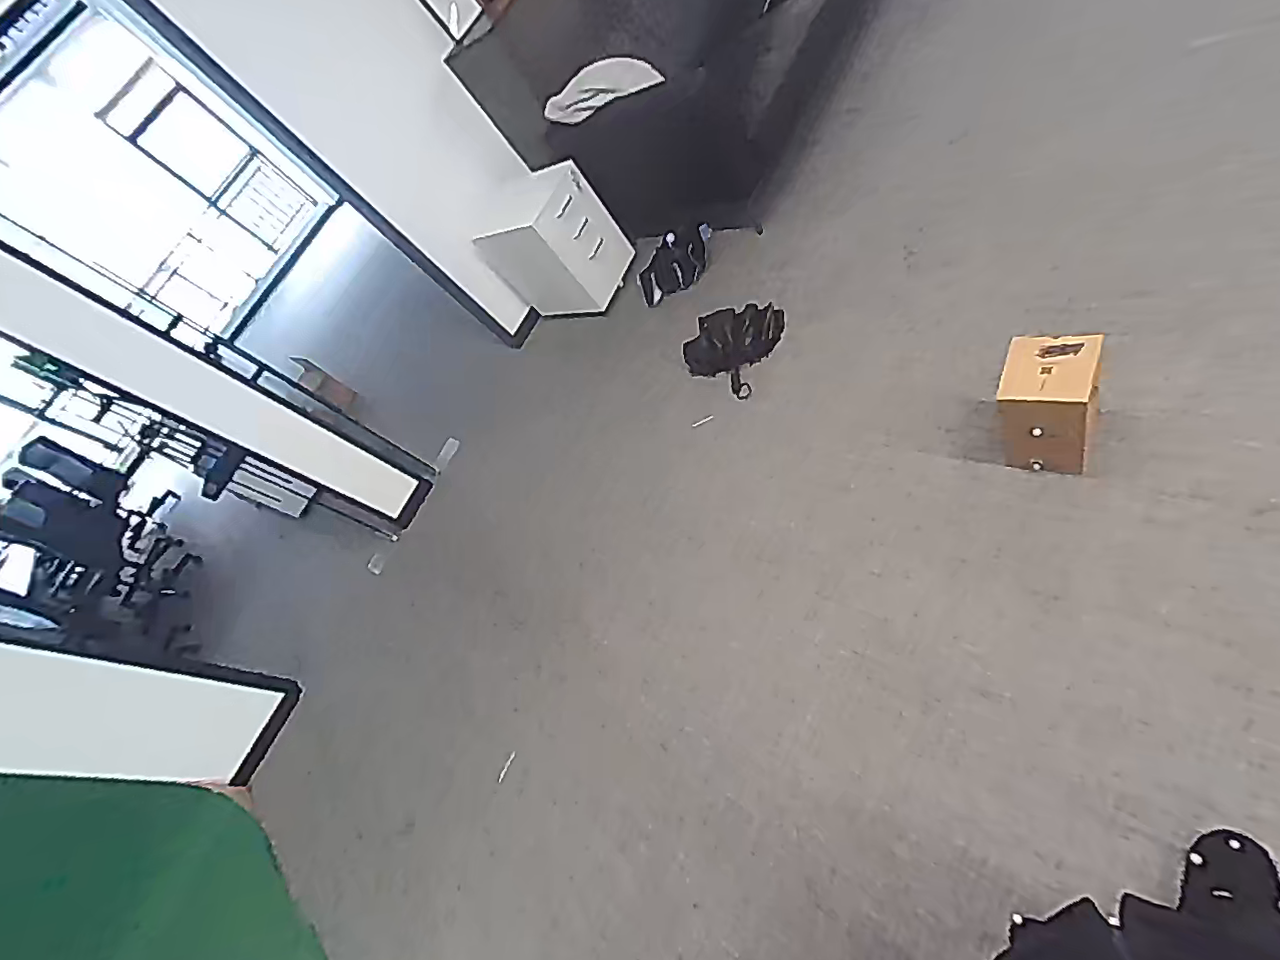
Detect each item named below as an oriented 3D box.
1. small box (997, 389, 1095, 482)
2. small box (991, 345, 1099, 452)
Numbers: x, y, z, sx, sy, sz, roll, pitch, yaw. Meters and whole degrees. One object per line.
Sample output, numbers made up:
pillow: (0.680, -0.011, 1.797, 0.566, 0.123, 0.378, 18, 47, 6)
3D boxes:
small box: (1.019, -0.117, 1.361, 0.168, 0.176, 0.179, 13, 71, 42)
small box: (0.928, -0.189, 1.244, 0.168, 0.176, 0.179, 12, 70, 41)
